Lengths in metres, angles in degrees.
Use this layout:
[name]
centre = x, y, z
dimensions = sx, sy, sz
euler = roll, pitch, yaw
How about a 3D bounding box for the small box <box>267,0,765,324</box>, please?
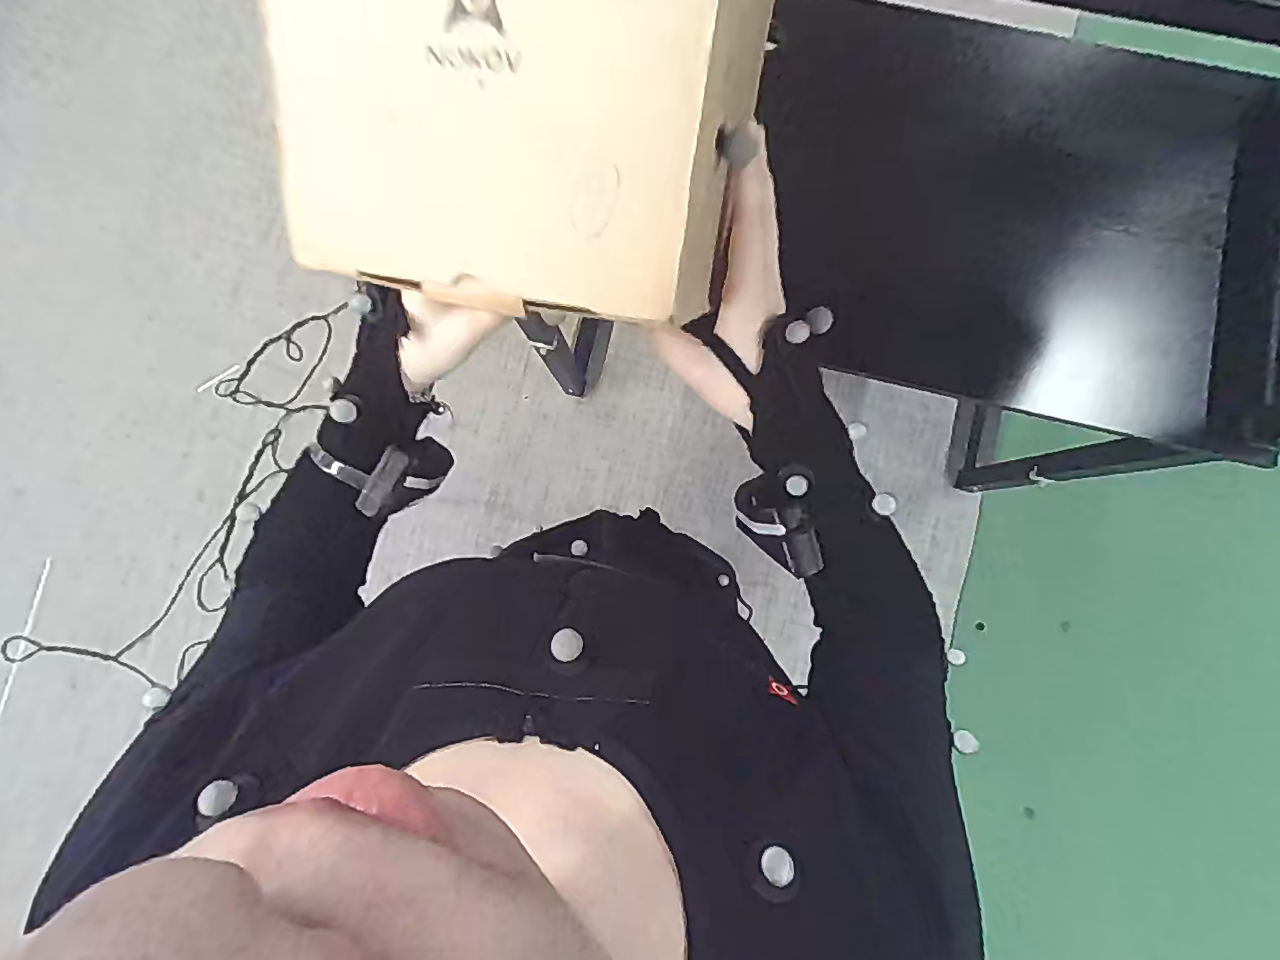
[small box]
centre = -0.037, -0.182, 0.257
dimensions = 0.168, 0.176, 0.179
euler = 11, 112, 10
